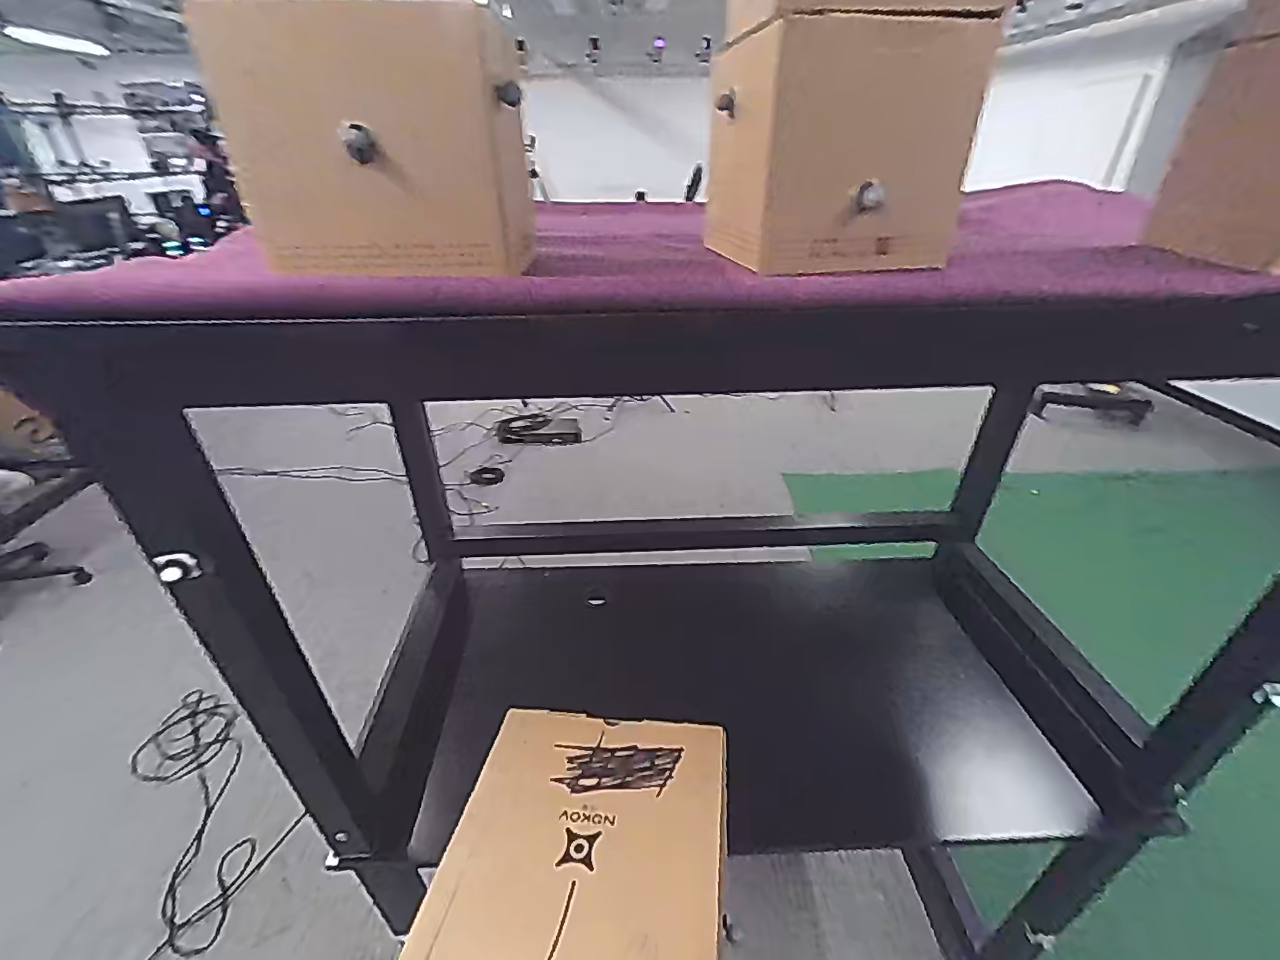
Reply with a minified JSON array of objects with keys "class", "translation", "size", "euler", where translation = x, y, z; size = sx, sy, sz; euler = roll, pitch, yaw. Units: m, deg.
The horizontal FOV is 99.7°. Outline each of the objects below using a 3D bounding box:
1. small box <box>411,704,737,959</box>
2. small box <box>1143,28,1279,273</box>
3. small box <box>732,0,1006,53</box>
[{"class":"small box","translation":[-0.020,0.287,0.369],"size":[0.168,0.176,0.179],"euler":[0,27,11]},{"class":"small box","translation":[0.584,-0.269,0.445],"size":[0.168,0.176,0.179],"euler":[4,34,8]},{"class":"small box","translation":[0.169,-0.429,0.392],"size":[0.168,0.176,0.179],"euler":[-2,32,-3]}]
